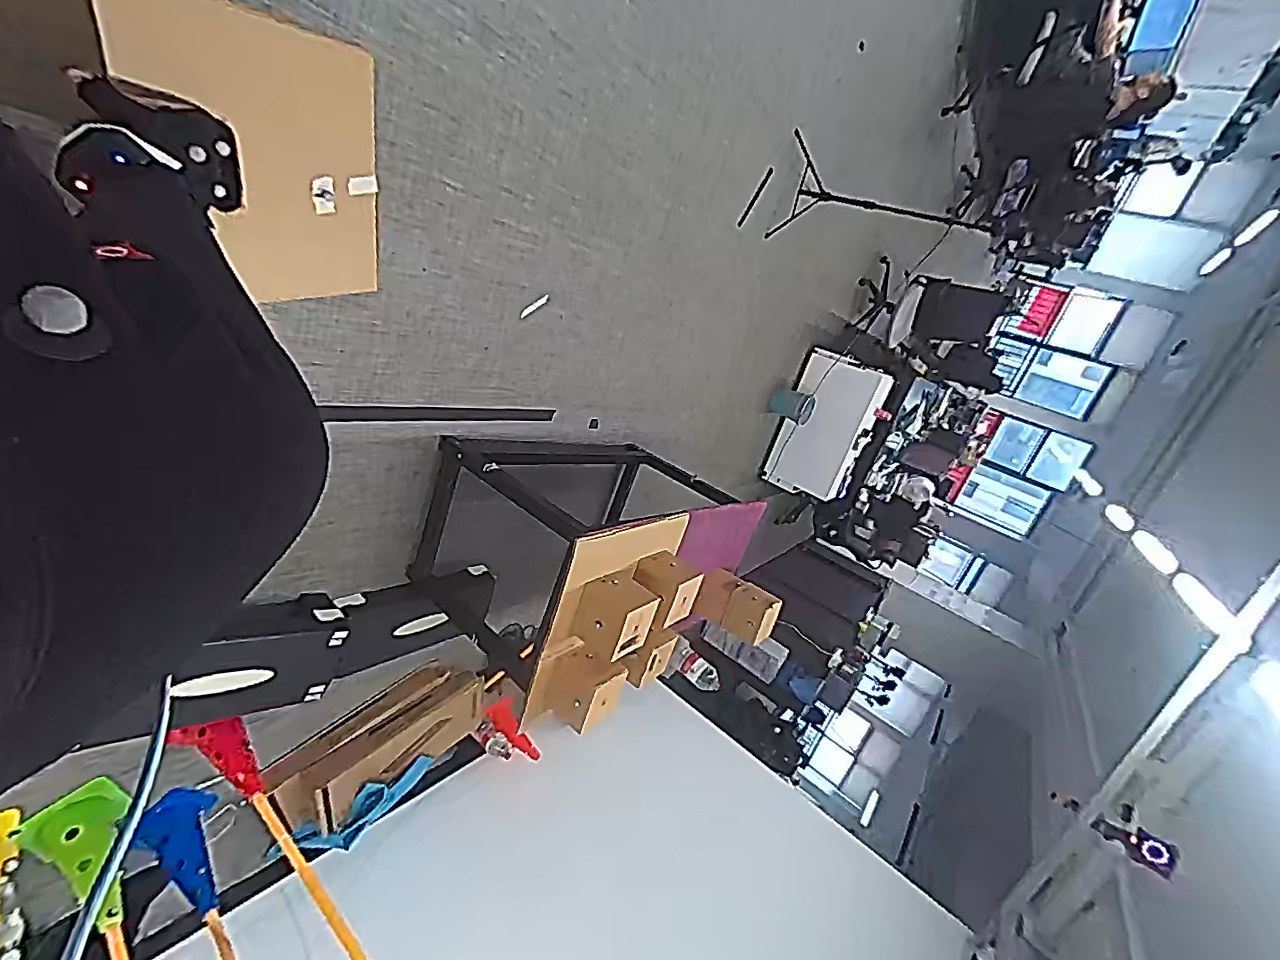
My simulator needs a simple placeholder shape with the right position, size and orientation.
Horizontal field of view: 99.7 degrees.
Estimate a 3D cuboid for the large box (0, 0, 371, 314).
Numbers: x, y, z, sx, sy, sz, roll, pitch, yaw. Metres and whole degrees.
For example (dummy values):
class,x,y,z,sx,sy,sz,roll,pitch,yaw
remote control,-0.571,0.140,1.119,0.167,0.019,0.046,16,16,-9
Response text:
class,x,y,z,sx,sy,sz,roll,pitch,yaw
large box,-0.628,-0.442,0.713,0.320,0.408,0.320,-42,151,-58
